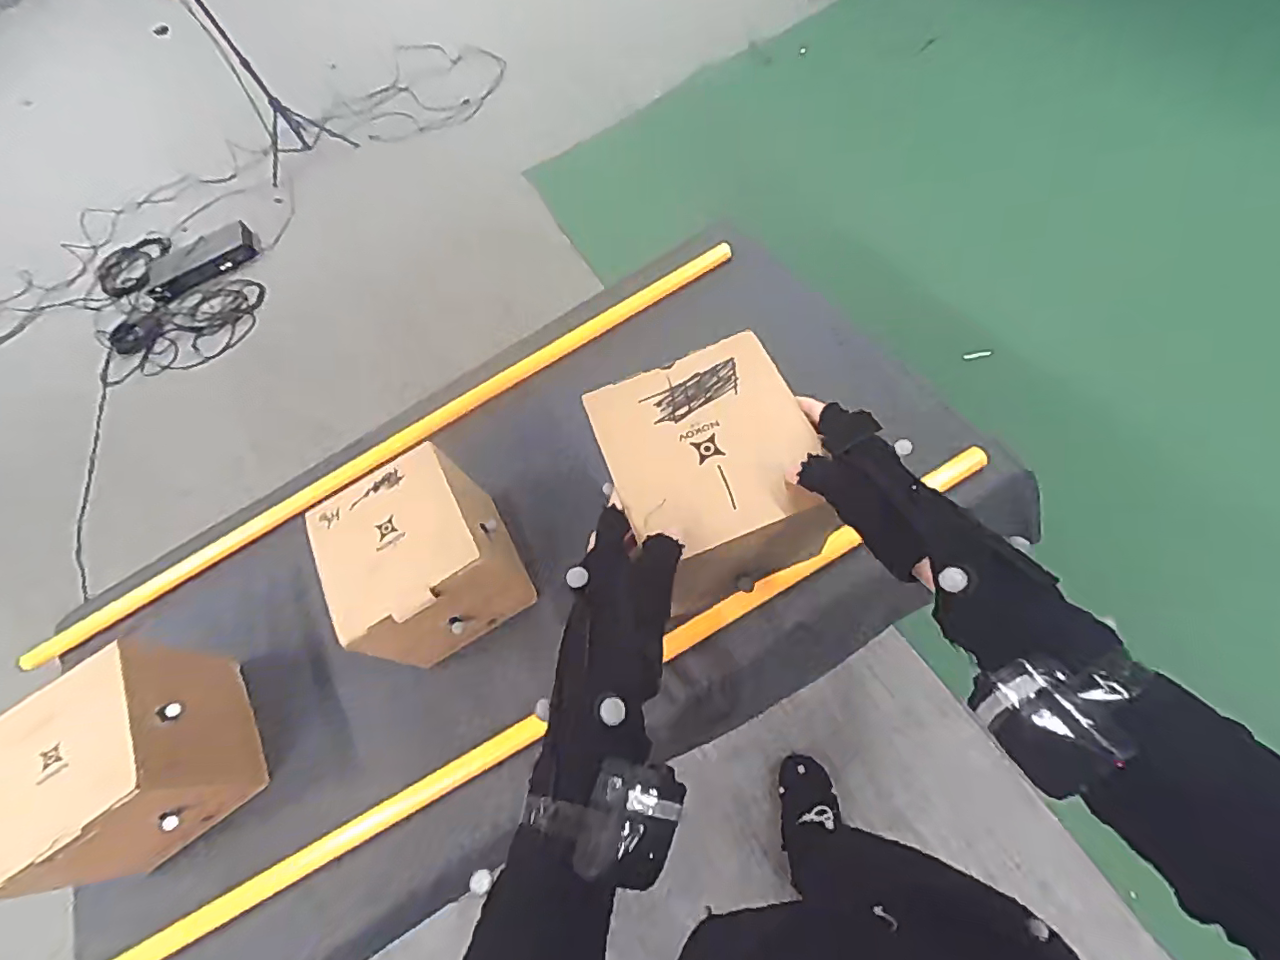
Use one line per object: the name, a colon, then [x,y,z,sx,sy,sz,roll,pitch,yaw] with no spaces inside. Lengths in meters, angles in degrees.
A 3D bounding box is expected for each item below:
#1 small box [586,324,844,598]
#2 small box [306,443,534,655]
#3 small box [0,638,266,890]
small box: [0.066,-0.008,0.520,0.168,0.176,0.179,-23,65,1]
small box: [-0.256,0.094,0.657,0.168,0.176,0.179,-34,62,-4]
small box: [-0.572,0.312,0.616,0.168,0.176,0.179,-35,61,-8]
